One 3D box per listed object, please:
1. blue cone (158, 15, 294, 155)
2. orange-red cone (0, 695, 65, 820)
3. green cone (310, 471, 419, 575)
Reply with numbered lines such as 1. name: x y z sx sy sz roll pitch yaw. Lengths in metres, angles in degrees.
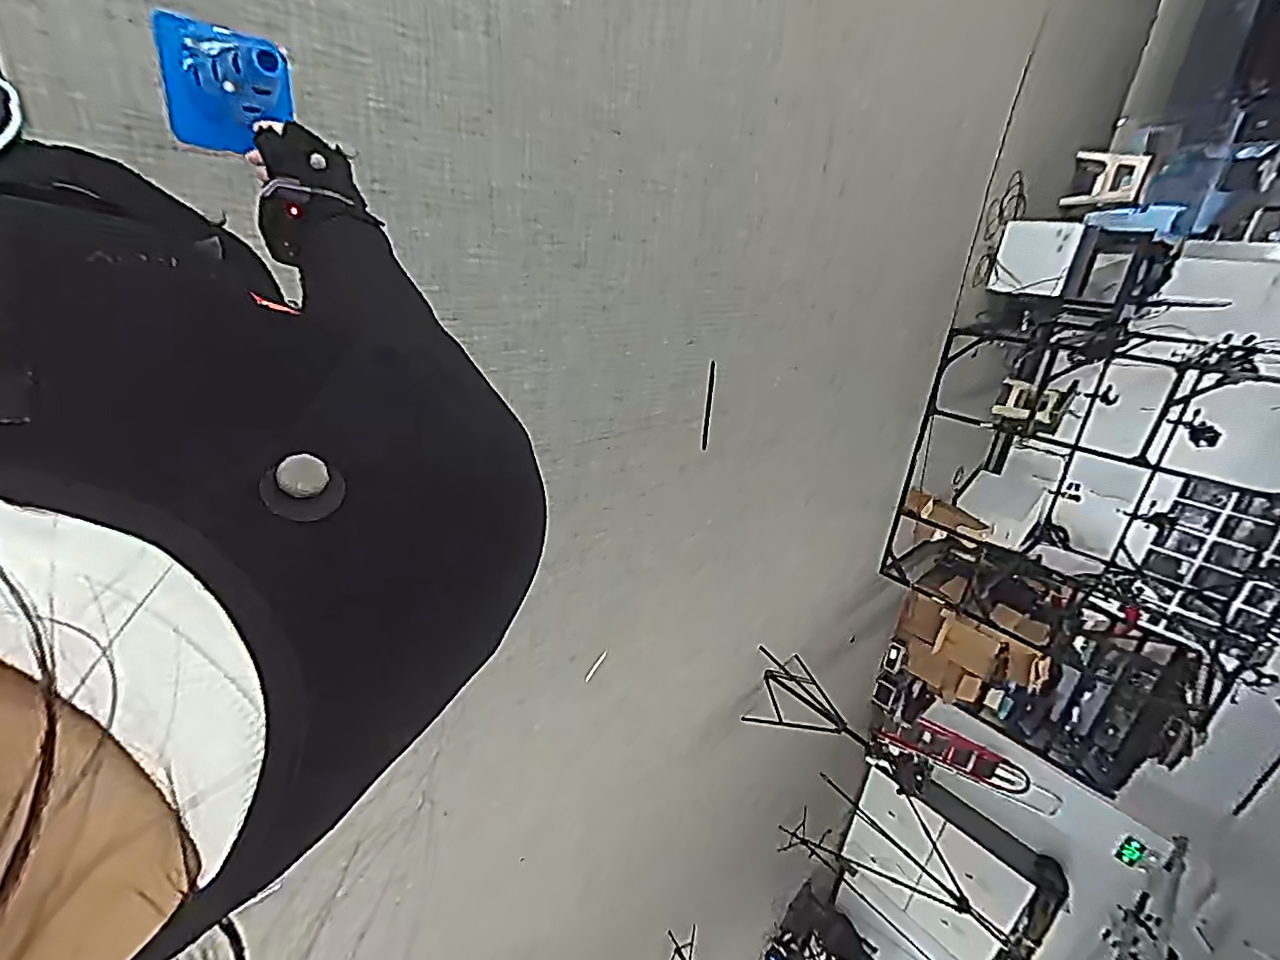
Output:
1. blue cone: -0.660 -0.677 0.907 0.192 0.380 0.193 -12 118 -42
2. orange-red cone: -1.220 0.603 0.990 0.199 0.360 0.198 -9 115 -41
3. green cone: -0.639 0.142 1.326 0.202 0.368 0.200 -16 121 -40
